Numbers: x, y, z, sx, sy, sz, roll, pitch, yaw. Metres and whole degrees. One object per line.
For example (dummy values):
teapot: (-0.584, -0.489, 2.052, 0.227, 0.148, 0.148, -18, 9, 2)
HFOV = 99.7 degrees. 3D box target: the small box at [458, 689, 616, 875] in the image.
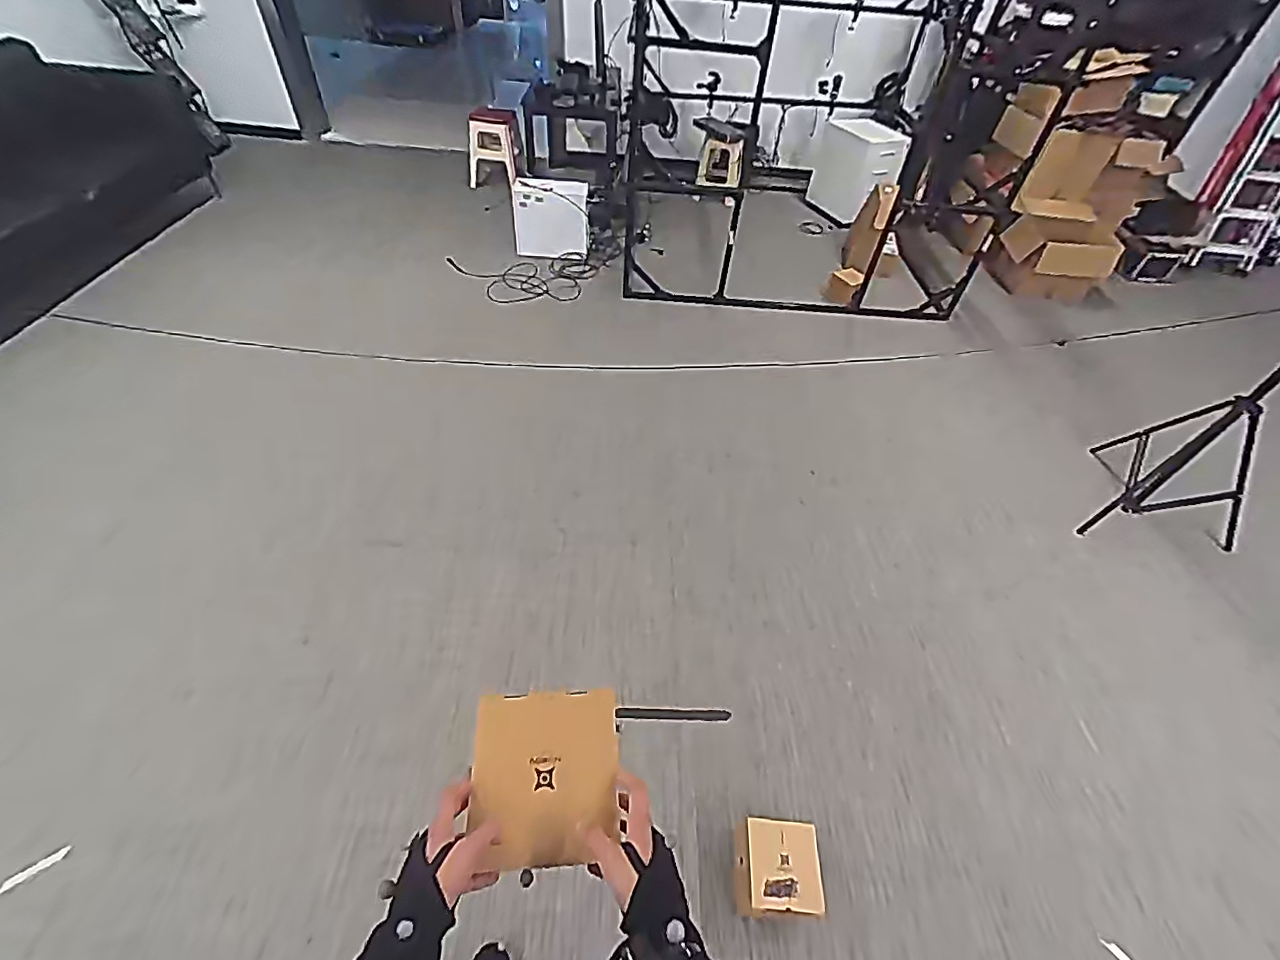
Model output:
small box: (-0.115, 0.372, 0.667, 0.168, 0.176, 0.179, -1, 54, -6)

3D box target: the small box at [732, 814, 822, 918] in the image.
small box: (0.319, 0.928, 1.294, 0.168, 0.176, 0.179, 7, 46, 0)
